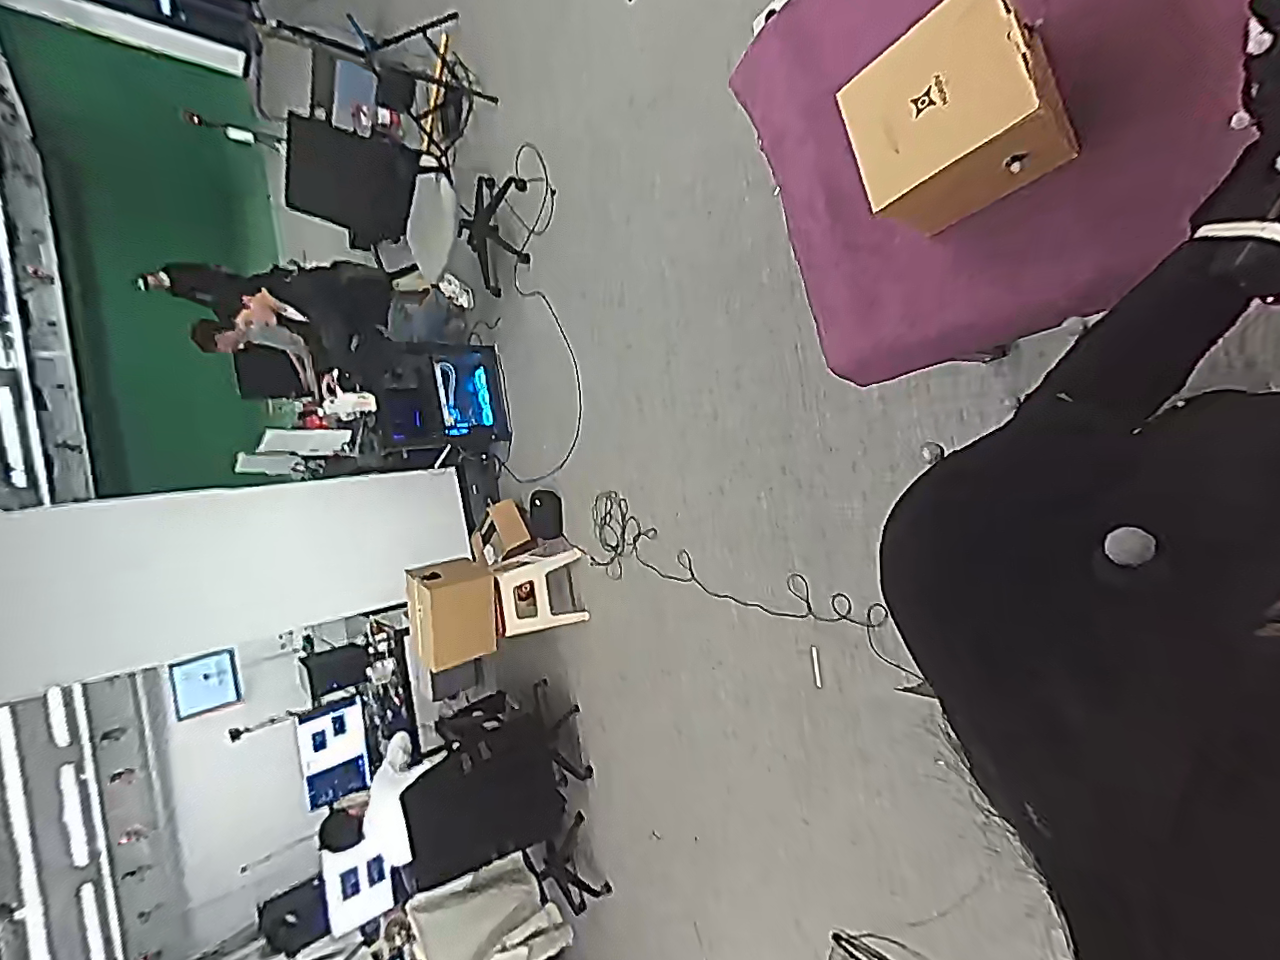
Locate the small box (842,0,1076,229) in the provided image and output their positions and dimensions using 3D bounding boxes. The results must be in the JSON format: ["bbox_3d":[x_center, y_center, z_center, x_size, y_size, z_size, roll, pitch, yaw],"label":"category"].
[{"bbox_3d":[0.377,-0.429,0.636,0.179,0.176,0.168,-22,79,50],"label":"small box"}]
